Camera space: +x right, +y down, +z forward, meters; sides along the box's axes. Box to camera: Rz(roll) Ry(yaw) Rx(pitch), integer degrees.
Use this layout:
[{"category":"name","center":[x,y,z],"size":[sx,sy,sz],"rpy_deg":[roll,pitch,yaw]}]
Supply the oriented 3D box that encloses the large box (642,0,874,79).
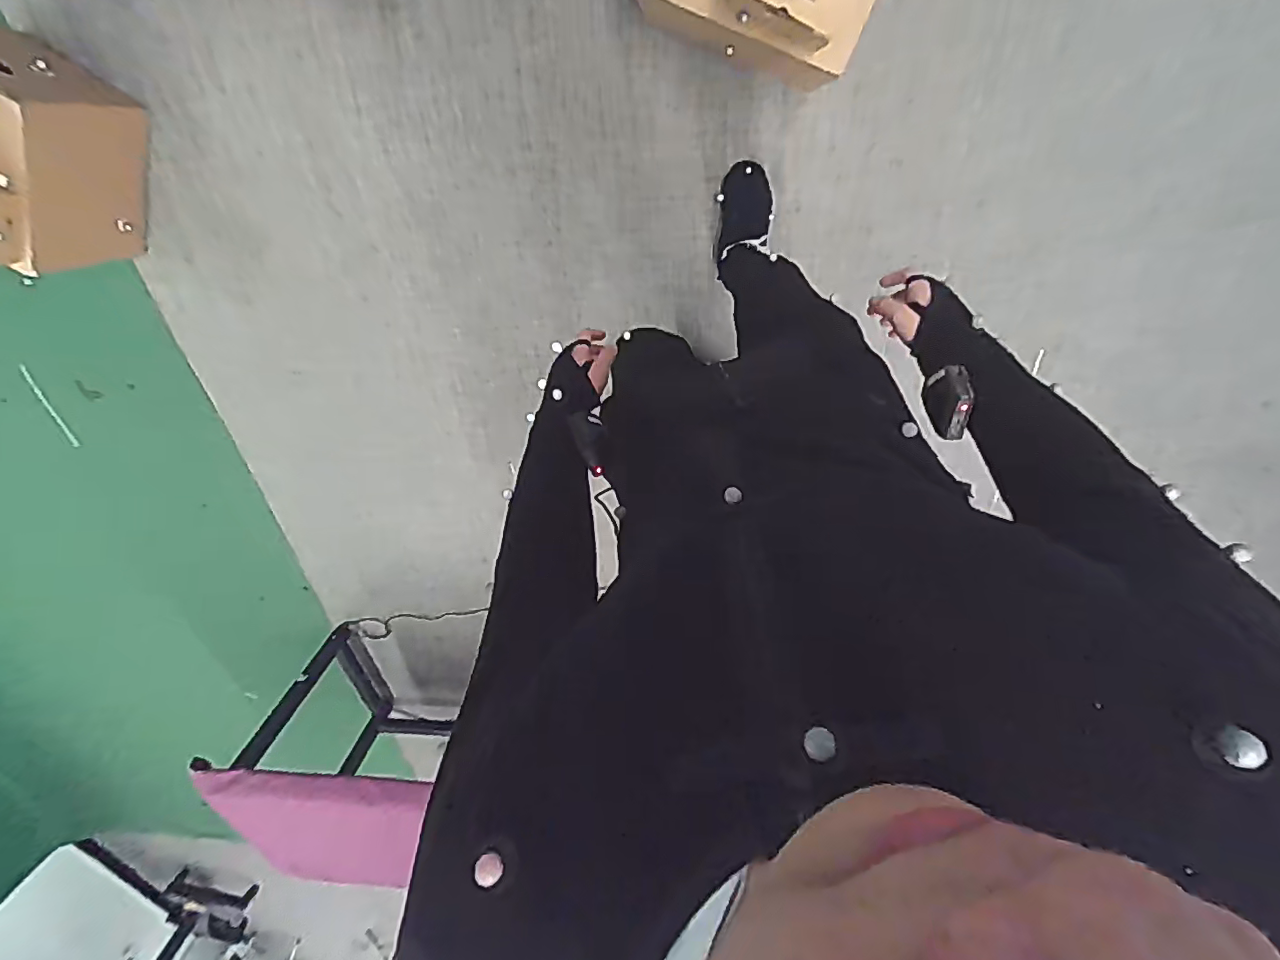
[{"category":"large box","center":[0.229,-0.960,0.947],"size":[0.408,0.320,0.320],"rpy_deg":[20,123,-4]}]

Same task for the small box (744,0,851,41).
[{"category":"small box","center":[0.246,-0.769,0.773],"size":[0.168,0.176,0.179],"rpy_deg":[23,124,-7]}]

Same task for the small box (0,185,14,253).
[{"category":"small box","center":[-1.496,-0.575,1.133],"size":[0.179,0.176,0.168],"rpy_deg":[29,122,-12]}]
